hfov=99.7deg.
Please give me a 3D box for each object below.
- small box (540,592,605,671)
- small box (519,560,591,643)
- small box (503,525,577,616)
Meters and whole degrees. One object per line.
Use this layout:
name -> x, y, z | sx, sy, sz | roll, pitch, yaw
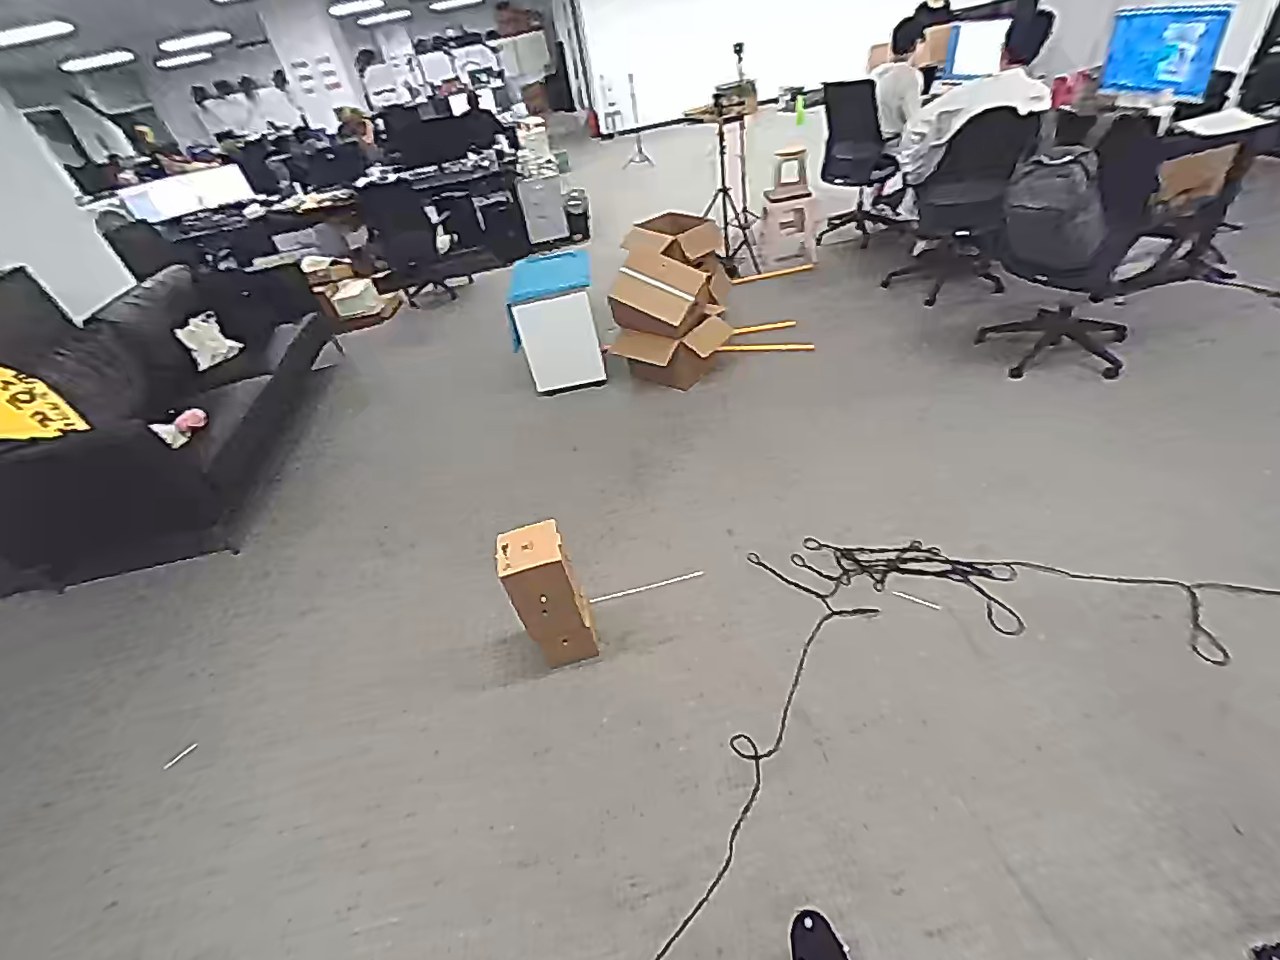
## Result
small box -> -0.223, 0.500, 1.770 | 0.179, 0.176, 0.168 | -14, 39, -2
small box -> -0.262, 0.377, 1.667 | 0.179, 0.176, 0.168 | -14, 40, -1
small box -> -0.284, 0.261, 1.553 | 0.179, 0.176, 0.168 | -15, 39, -3
